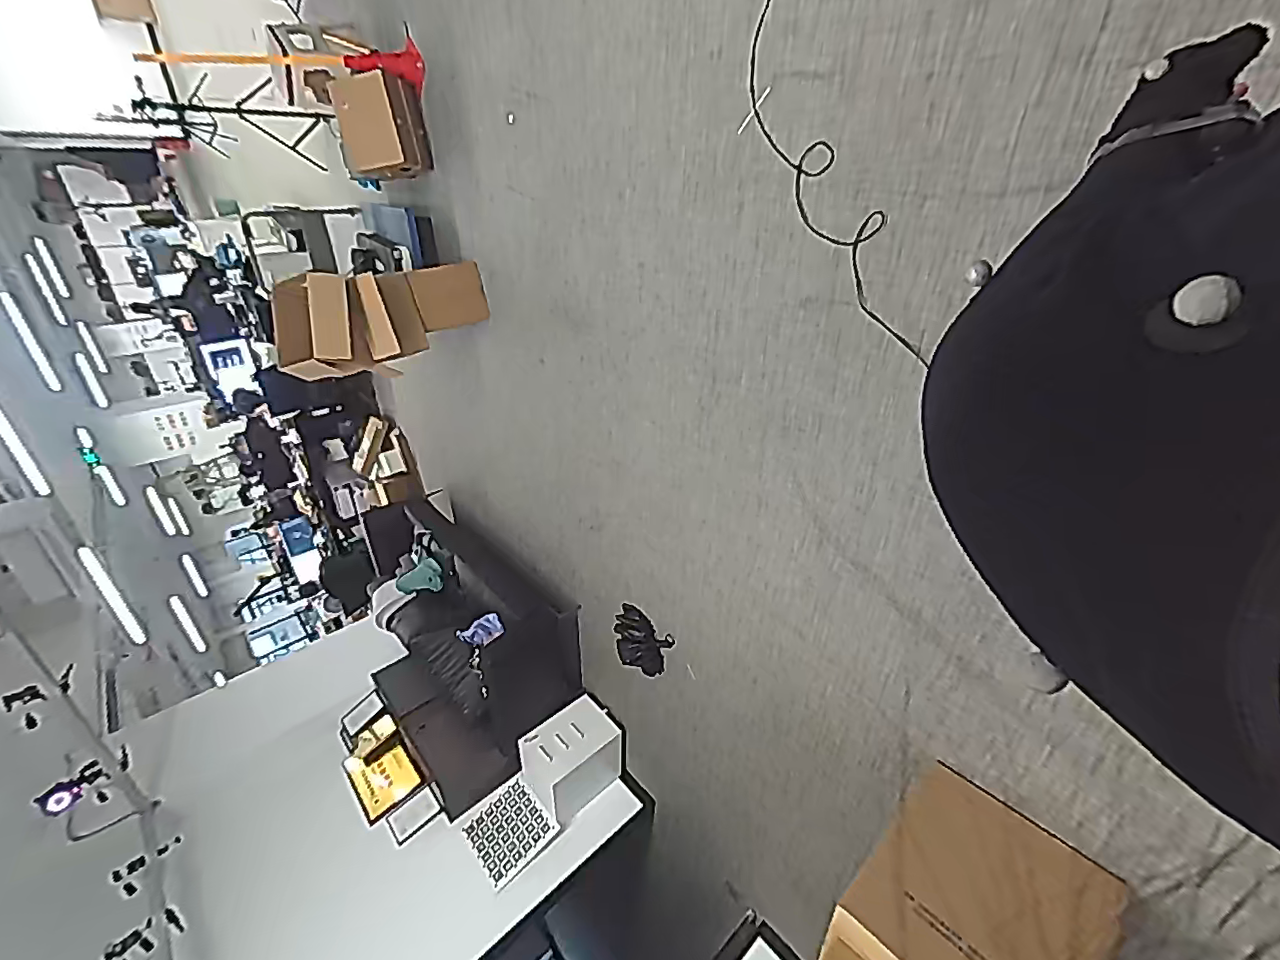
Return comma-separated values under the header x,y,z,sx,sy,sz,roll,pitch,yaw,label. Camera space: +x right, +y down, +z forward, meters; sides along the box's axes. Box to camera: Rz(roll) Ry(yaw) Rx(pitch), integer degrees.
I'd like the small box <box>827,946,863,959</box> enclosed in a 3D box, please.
x,y,z,sx,sy,sz,roll,pitch,yaw,label
0.553,1.380,1.410,0.179,0.176,0.168,18,121,45,small box
